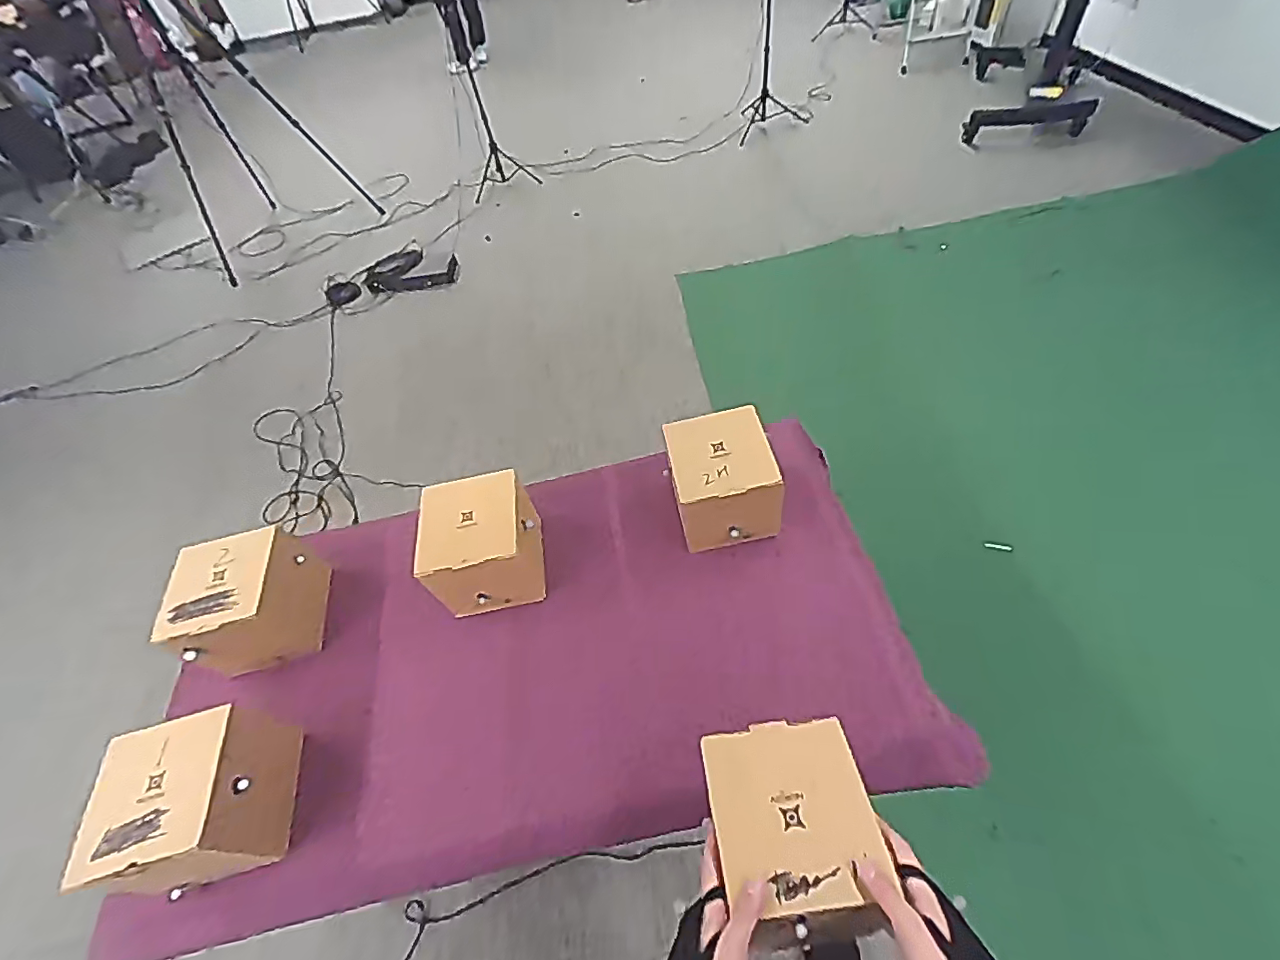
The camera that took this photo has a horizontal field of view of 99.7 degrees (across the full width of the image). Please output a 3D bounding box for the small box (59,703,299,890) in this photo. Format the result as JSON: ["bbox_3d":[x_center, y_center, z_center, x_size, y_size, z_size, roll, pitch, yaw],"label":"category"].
[{"bbox_3d":[-0.608,0.437,0.745,0.168,0.176,0.179,-15,51,-3],"label":"small box"}]

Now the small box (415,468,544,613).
[{"bbox_3d":[-0.270,0.108,0.943,0.168,0.176,0.179,-11,54,0],"label":"small box"}]

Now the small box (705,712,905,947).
[{"bbox_3d":[0.170,0.398,0.619,0.168,0.176,0.179,-9,40,1],"label":"small box"}]

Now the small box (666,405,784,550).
[{"bbox_3d":[0.146,-0.001,0.954,0.168,0.176,0.179,-12,54,3],"label":"small box"}]
